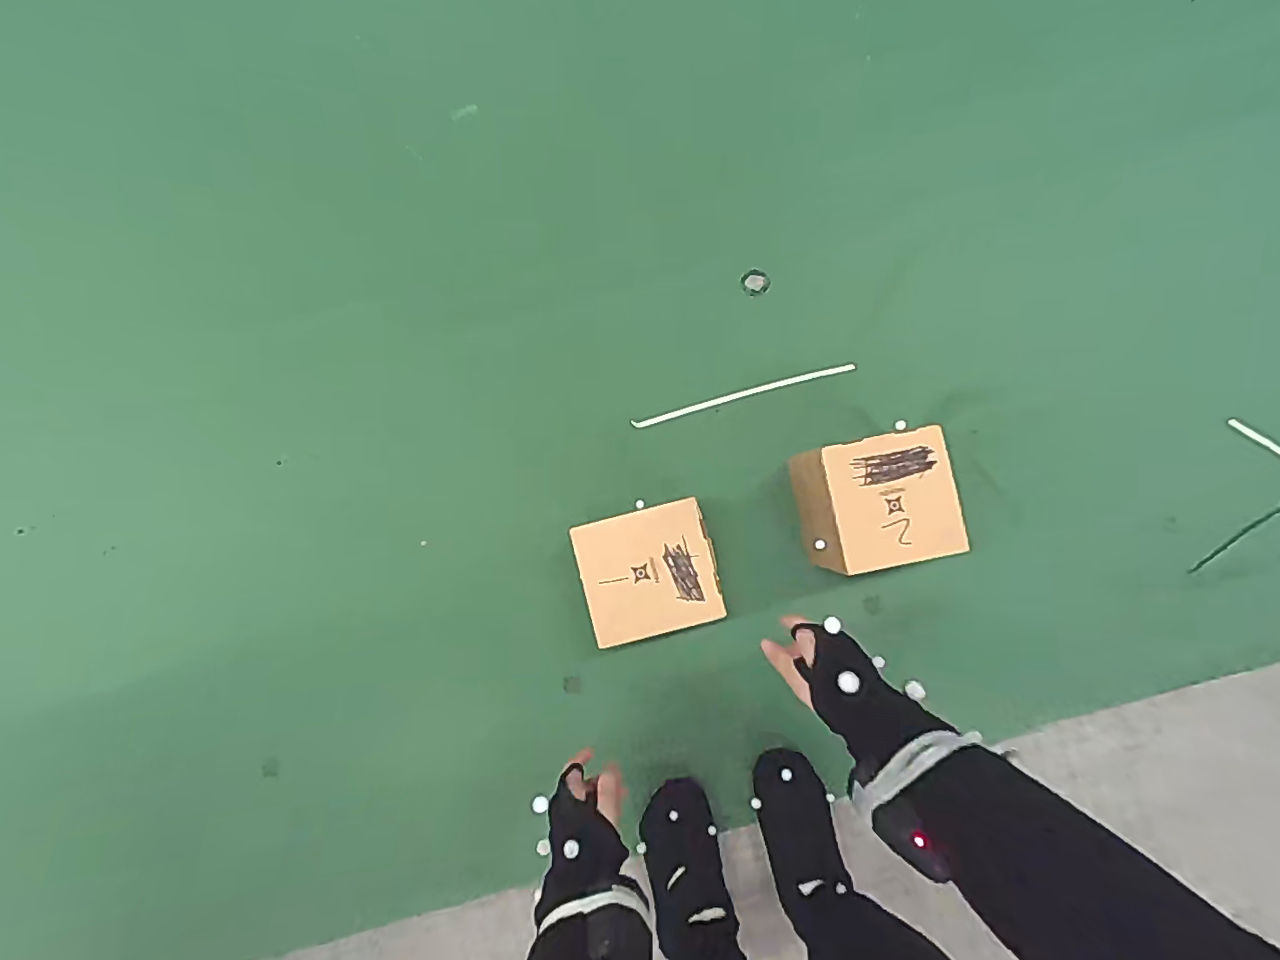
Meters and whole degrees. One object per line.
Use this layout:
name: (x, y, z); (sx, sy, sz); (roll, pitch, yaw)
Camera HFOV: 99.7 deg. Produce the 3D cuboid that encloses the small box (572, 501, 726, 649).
small box: (0.012, 0.128, 0.793); (0.179, 0.176, 0.168); (-15, 86, 1)
